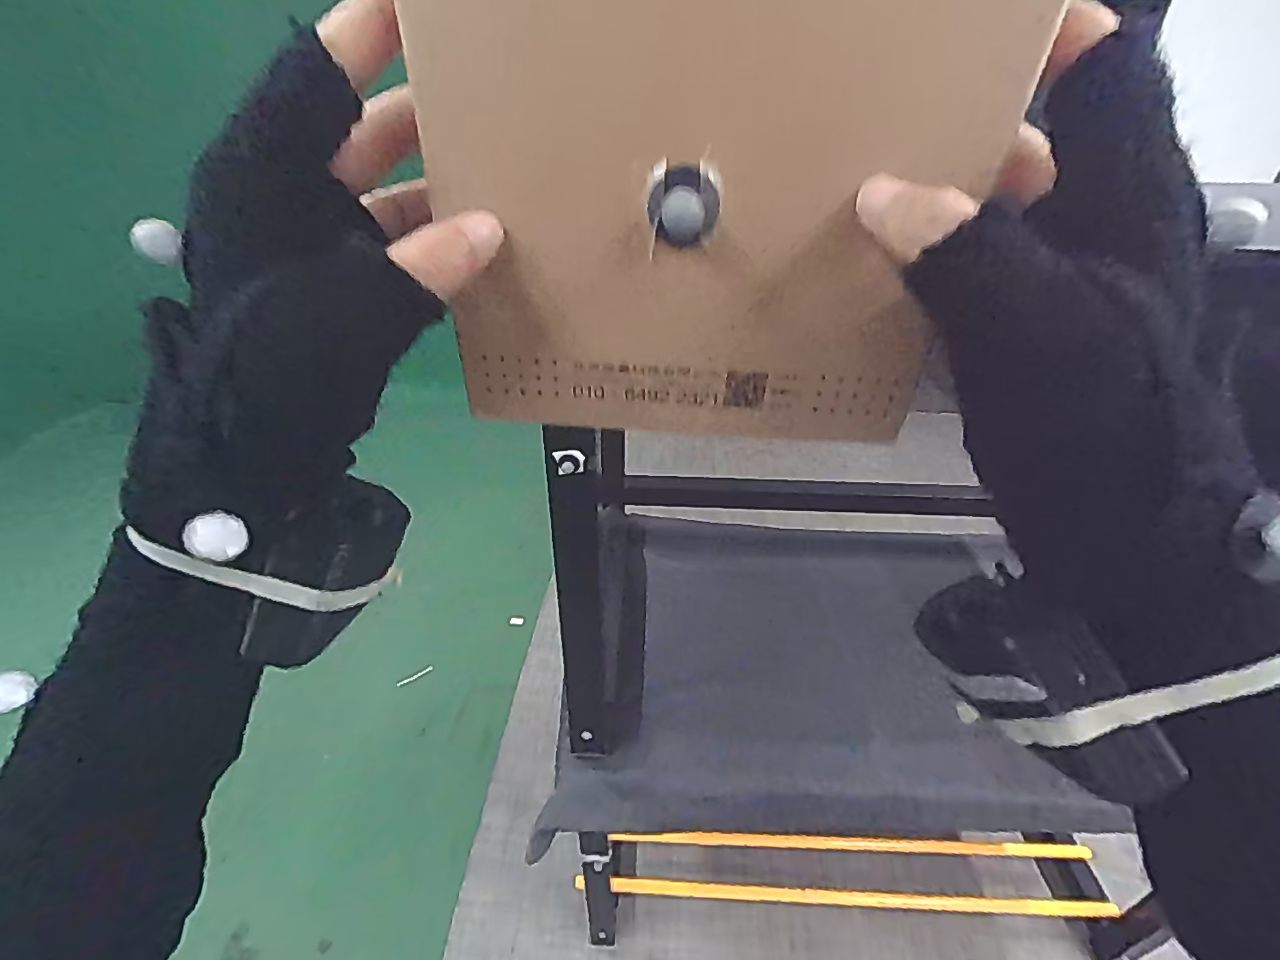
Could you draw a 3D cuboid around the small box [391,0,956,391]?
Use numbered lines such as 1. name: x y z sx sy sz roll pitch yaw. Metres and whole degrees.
1. small box: 0.014 -0.151 0.237 0.168 0.176 0.179 4 37 2
